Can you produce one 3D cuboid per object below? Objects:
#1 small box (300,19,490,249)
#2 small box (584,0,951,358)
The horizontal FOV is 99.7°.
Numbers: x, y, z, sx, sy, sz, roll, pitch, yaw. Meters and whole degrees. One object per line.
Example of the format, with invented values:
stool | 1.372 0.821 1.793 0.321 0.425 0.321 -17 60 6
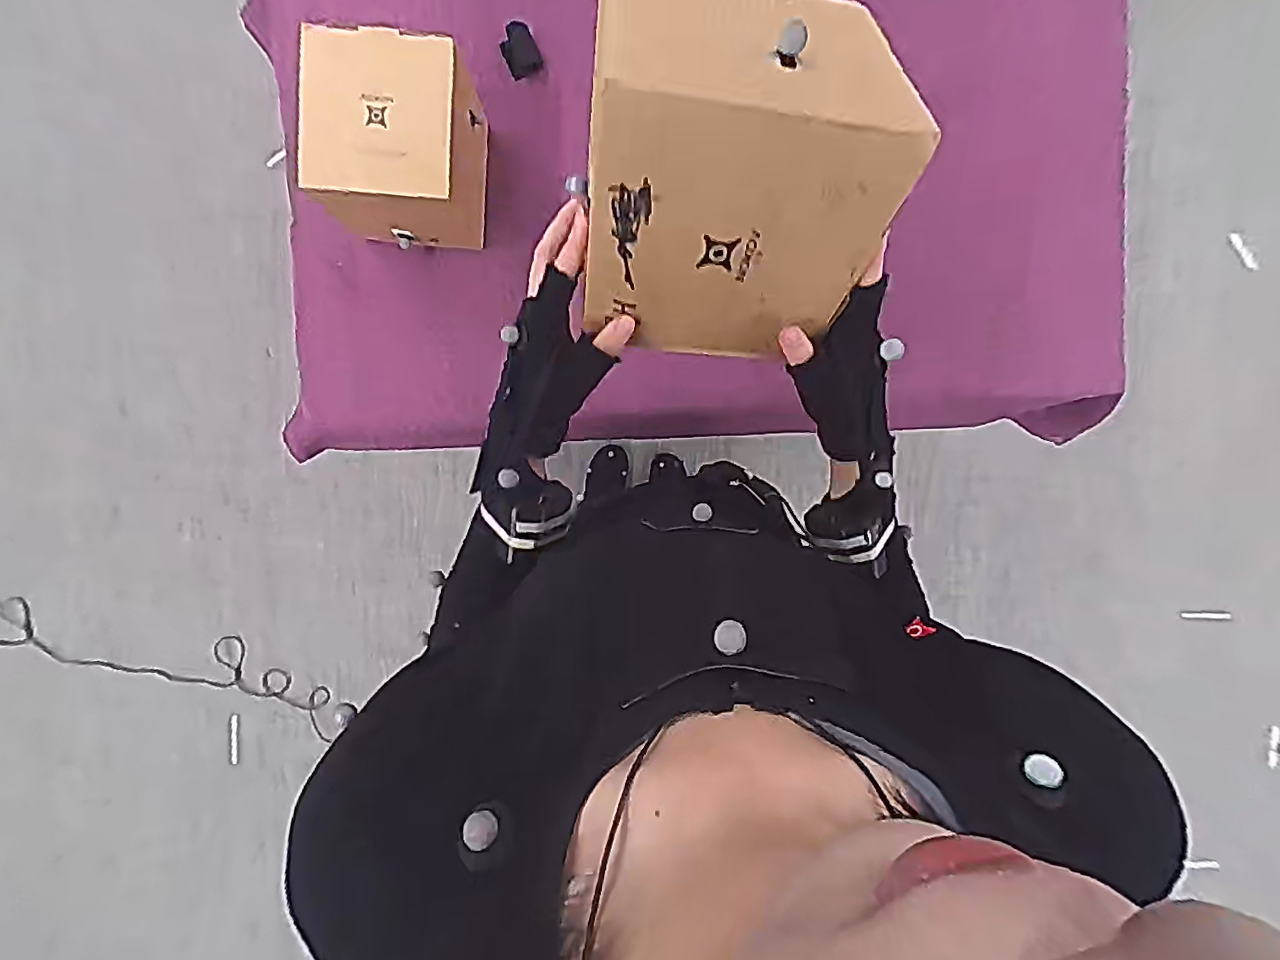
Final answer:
small box | -0.288 -0.410 0.668 0.168 0.176 0.179 3 94 -2
small box | 0.056 -0.205 0.361 0.179 0.168 0.176 3 59 -8
